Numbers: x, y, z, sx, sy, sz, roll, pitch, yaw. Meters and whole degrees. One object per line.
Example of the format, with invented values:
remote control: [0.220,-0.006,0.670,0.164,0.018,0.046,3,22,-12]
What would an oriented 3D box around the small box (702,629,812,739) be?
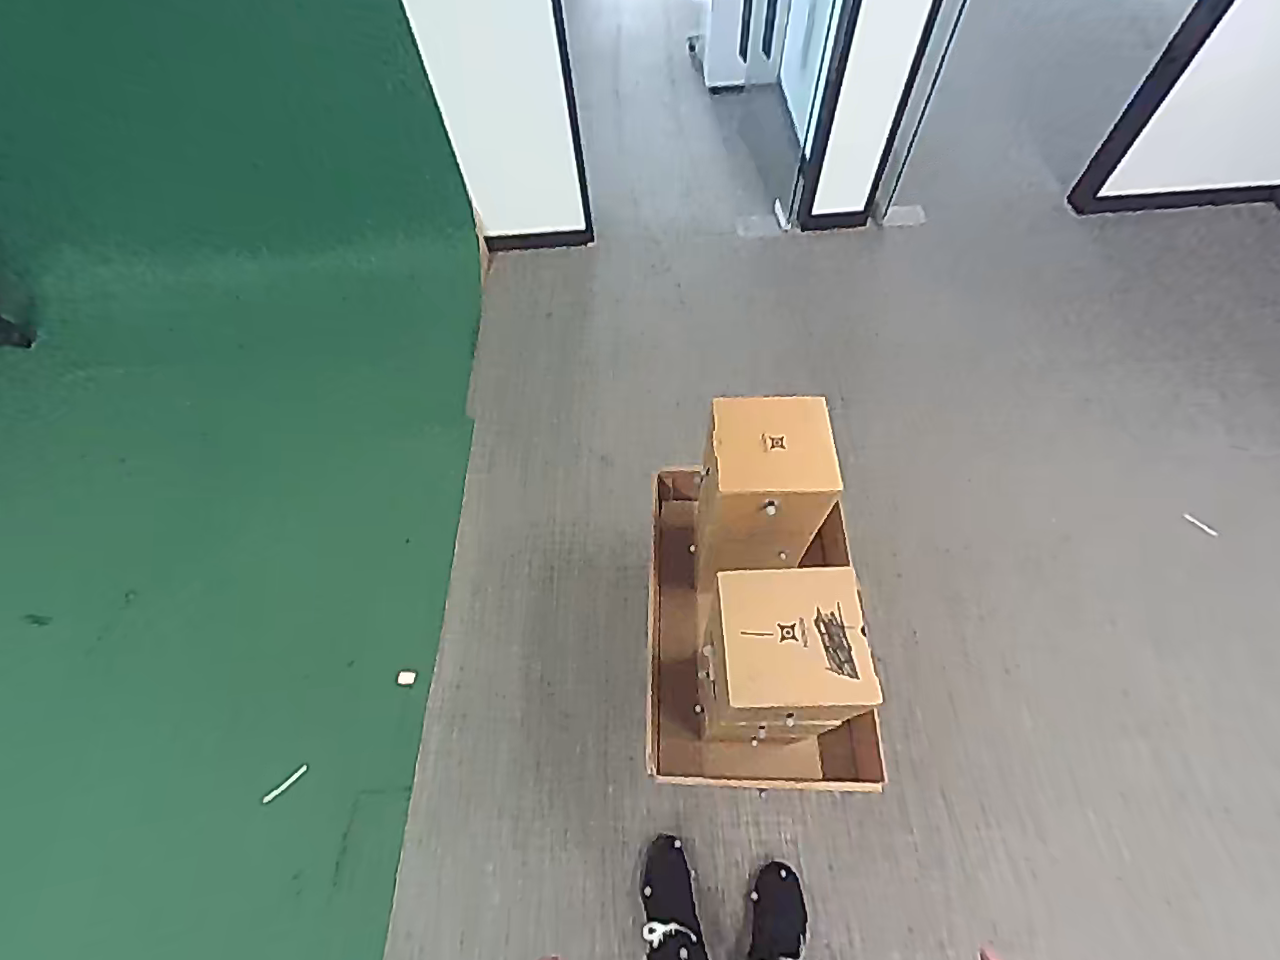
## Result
small box: [0.206,0.382,1.002,0.179,0.176,0.168,2,61,3]

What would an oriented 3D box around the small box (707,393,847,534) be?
small box: [0.202,-0.021,0.851,0.179,0.176,0.168,-1,62,2]

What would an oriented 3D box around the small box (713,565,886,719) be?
small box: [0.194,0.219,0.717,0.179,0.176,0.168,-2,61,3]

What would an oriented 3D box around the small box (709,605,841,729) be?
small box: [0.200,0.301,0.860,0.179,0.176,0.168,-1,61,3]
